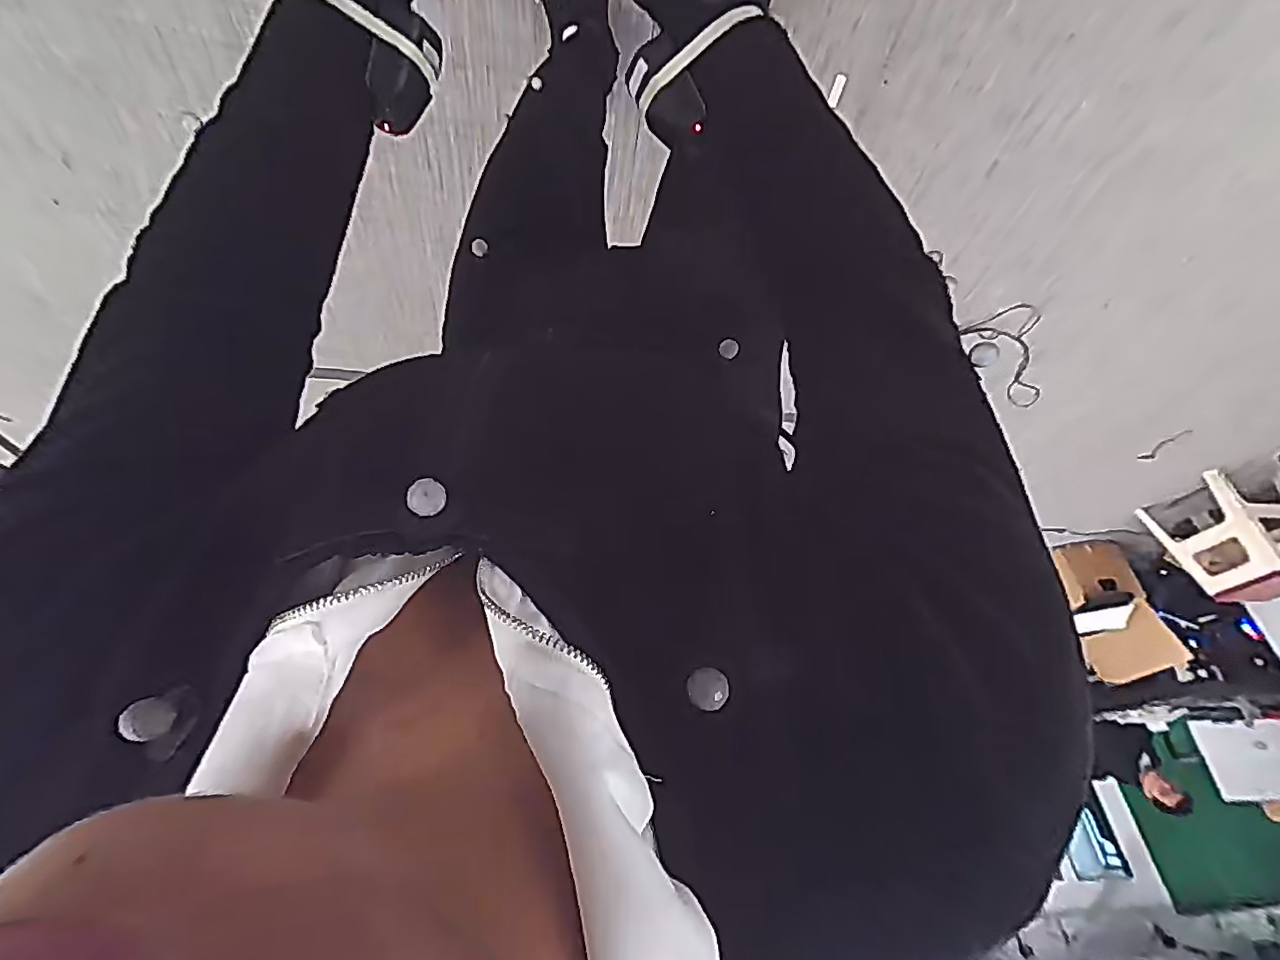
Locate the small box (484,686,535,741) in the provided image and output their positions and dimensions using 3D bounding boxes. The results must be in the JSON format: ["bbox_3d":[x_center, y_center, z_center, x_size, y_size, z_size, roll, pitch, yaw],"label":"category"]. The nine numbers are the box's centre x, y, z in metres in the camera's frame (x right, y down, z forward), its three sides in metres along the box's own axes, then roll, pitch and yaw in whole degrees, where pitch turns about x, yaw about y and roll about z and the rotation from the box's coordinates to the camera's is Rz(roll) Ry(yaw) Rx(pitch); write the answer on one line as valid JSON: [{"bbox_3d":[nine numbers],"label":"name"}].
[{"bbox_3d":[-0.494,0.895,2.071,0.179,0.176,0.168,0,147,-6],"label":"small box"}]

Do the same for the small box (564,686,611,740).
[{"bbox_3d":[-0.204,0.914,2.121,0.179,0.176,0.168,0,147,-6],"label":"small box"}]
